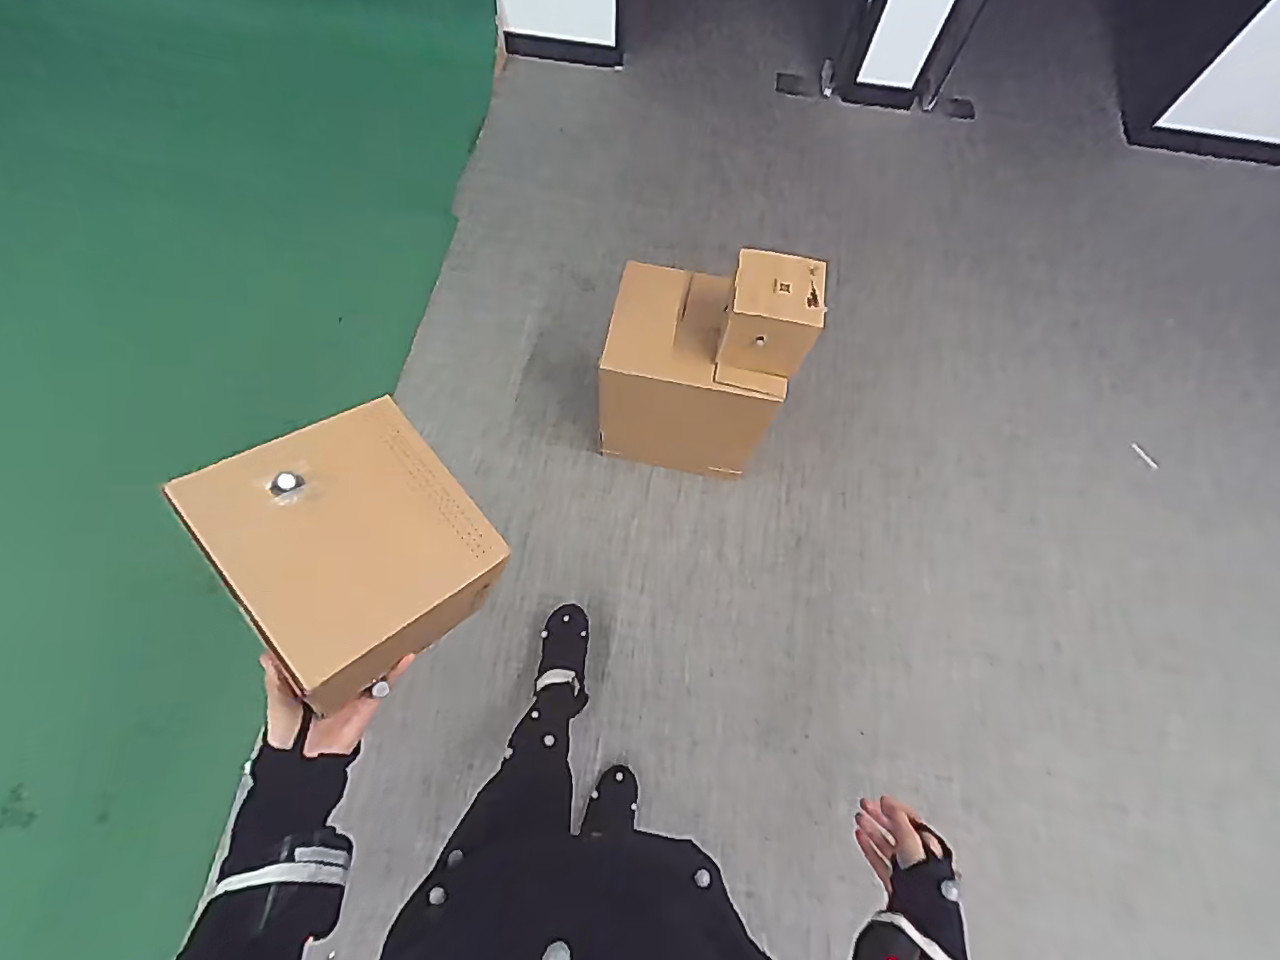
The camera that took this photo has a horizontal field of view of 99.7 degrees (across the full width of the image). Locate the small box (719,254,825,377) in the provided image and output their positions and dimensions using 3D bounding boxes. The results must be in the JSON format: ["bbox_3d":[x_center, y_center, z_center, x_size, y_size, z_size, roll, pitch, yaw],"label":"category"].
[{"bbox_3d":[0.265,-0.333,1.115,0.179,0.176,0.168,10,68,2],"label":"small box"}]
